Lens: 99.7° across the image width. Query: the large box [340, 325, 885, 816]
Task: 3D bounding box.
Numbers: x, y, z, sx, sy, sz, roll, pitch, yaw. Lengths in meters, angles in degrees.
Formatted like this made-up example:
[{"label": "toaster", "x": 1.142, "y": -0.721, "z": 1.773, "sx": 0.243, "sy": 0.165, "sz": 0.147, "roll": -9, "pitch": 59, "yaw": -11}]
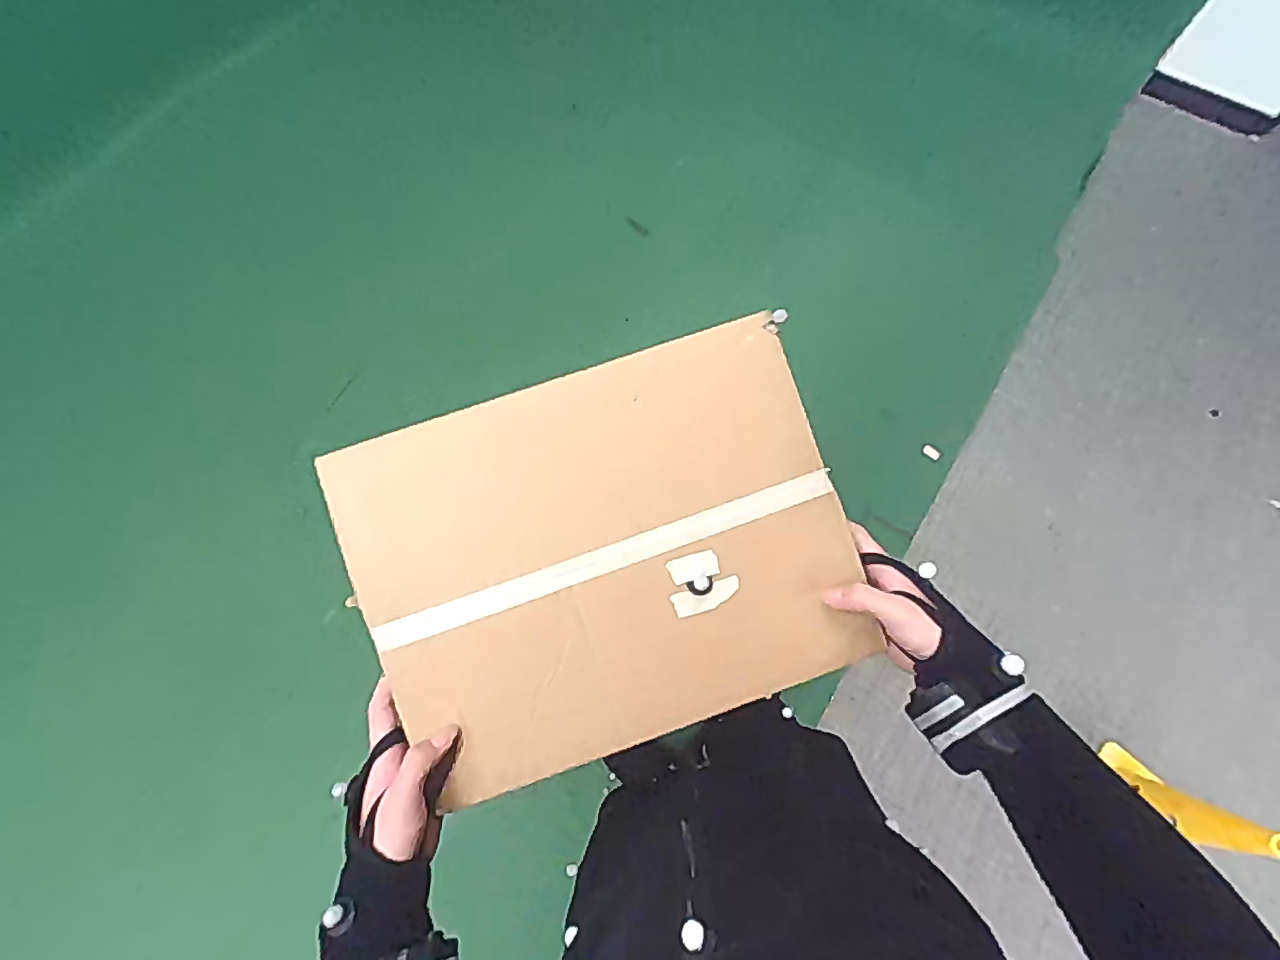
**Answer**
[{"label": "large box", "x": -0.028, "y": 0.079, "z": 0.611, "sx": 0.408, "sy": 0.320, "sz": 0.320, "roll": -19, "pitch": 89, "yaw": -4}]
